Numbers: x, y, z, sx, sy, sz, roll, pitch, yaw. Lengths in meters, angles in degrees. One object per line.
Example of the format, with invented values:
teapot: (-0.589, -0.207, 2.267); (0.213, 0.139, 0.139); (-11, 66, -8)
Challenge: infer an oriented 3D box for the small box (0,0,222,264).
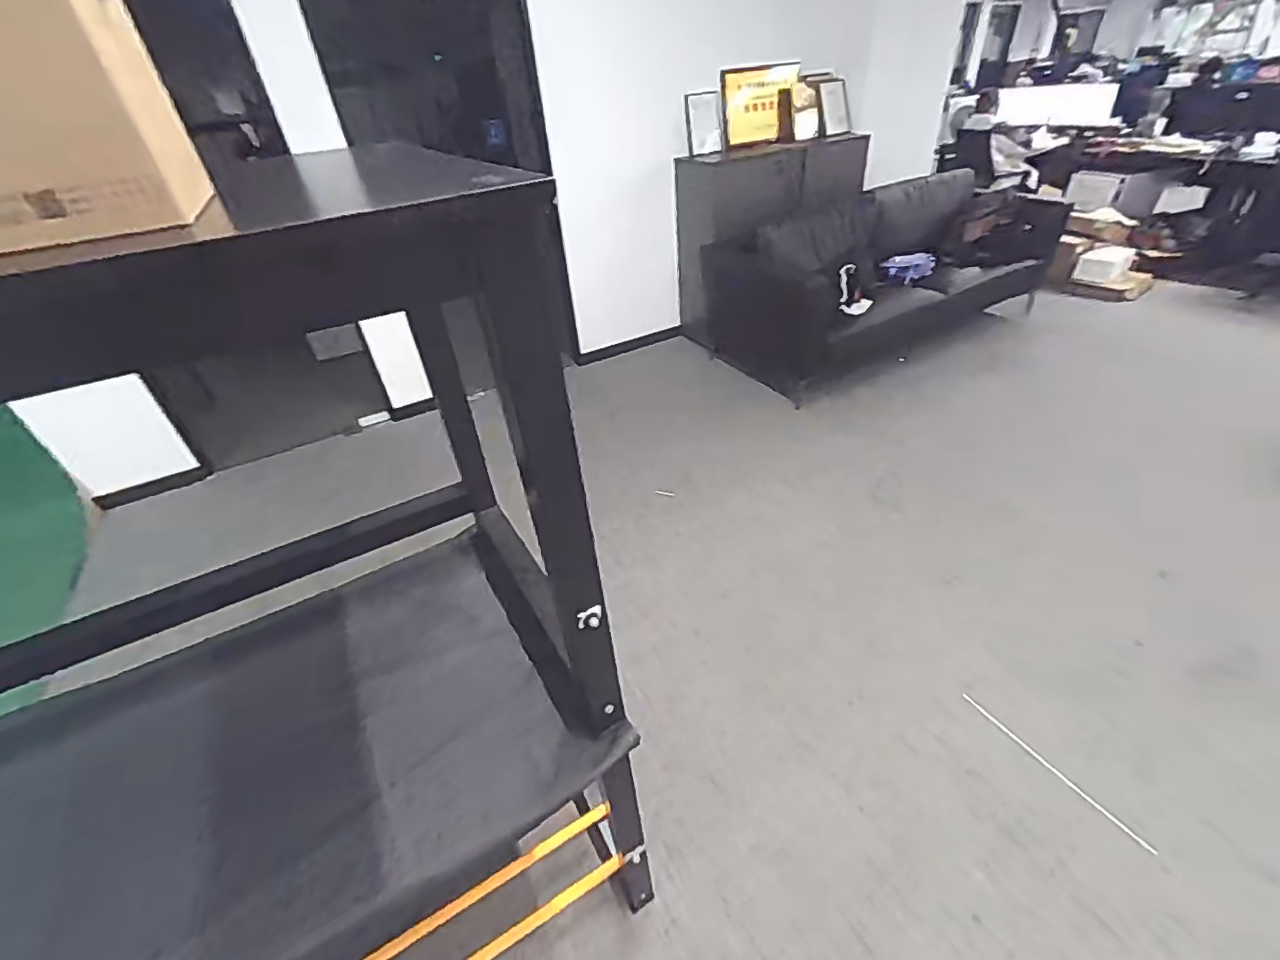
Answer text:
small box: (-0.390, -0.232, 0.325); (0.168, 0.176, 0.179); (-21, 40, -20)
